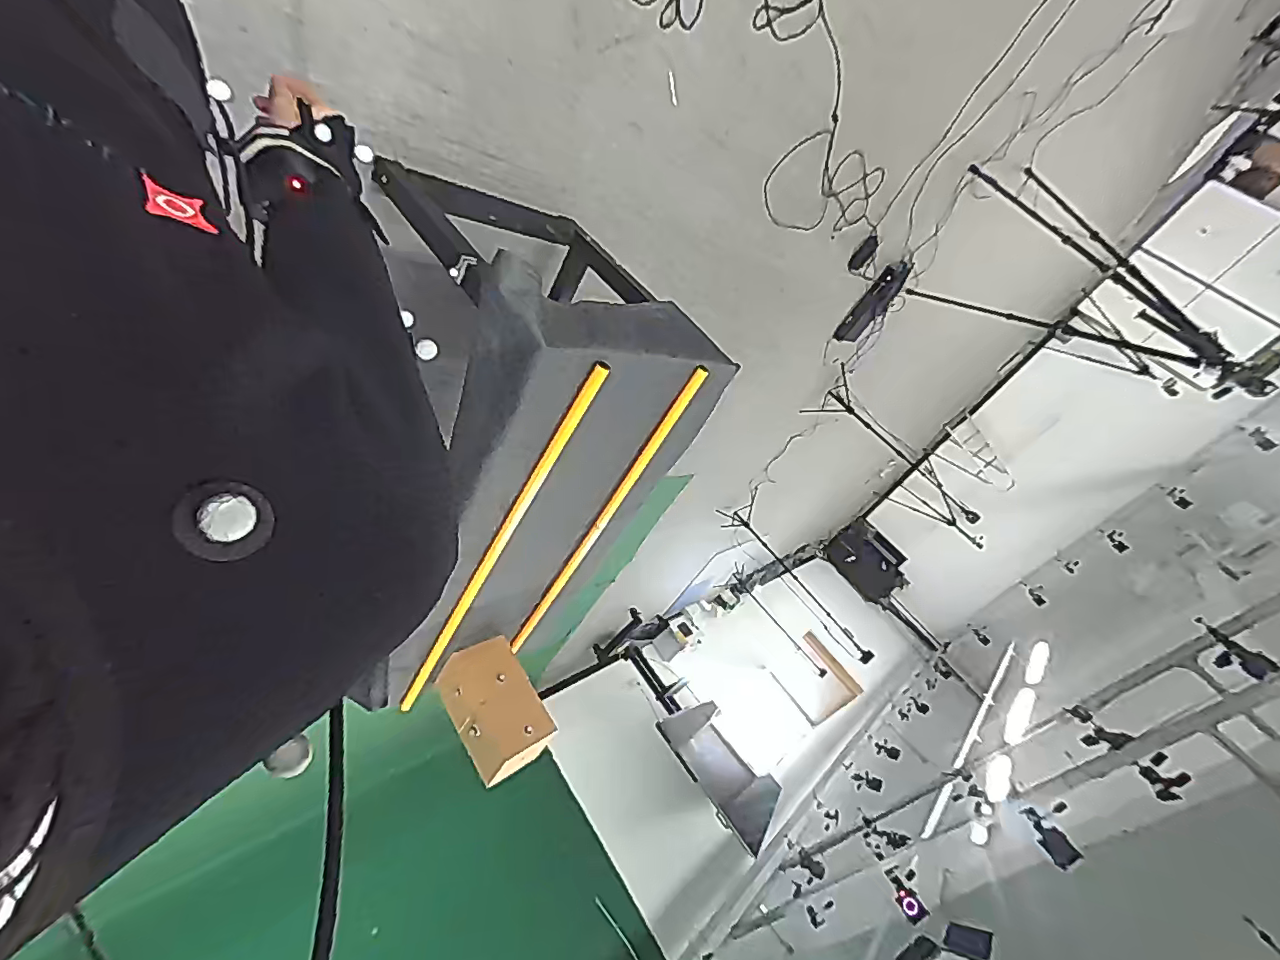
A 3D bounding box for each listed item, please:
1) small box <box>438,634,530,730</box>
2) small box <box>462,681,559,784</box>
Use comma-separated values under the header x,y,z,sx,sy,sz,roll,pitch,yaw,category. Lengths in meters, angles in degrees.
x,y,z,sx,sy,sz,roll,pitch,yaw,category
-0.459,0.580,1.573,0.179,0.176,0.168,-9,141,-50,small box
-0.364,0.697,1.511,0.179,0.176,0.168,-10,141,-48,small box
